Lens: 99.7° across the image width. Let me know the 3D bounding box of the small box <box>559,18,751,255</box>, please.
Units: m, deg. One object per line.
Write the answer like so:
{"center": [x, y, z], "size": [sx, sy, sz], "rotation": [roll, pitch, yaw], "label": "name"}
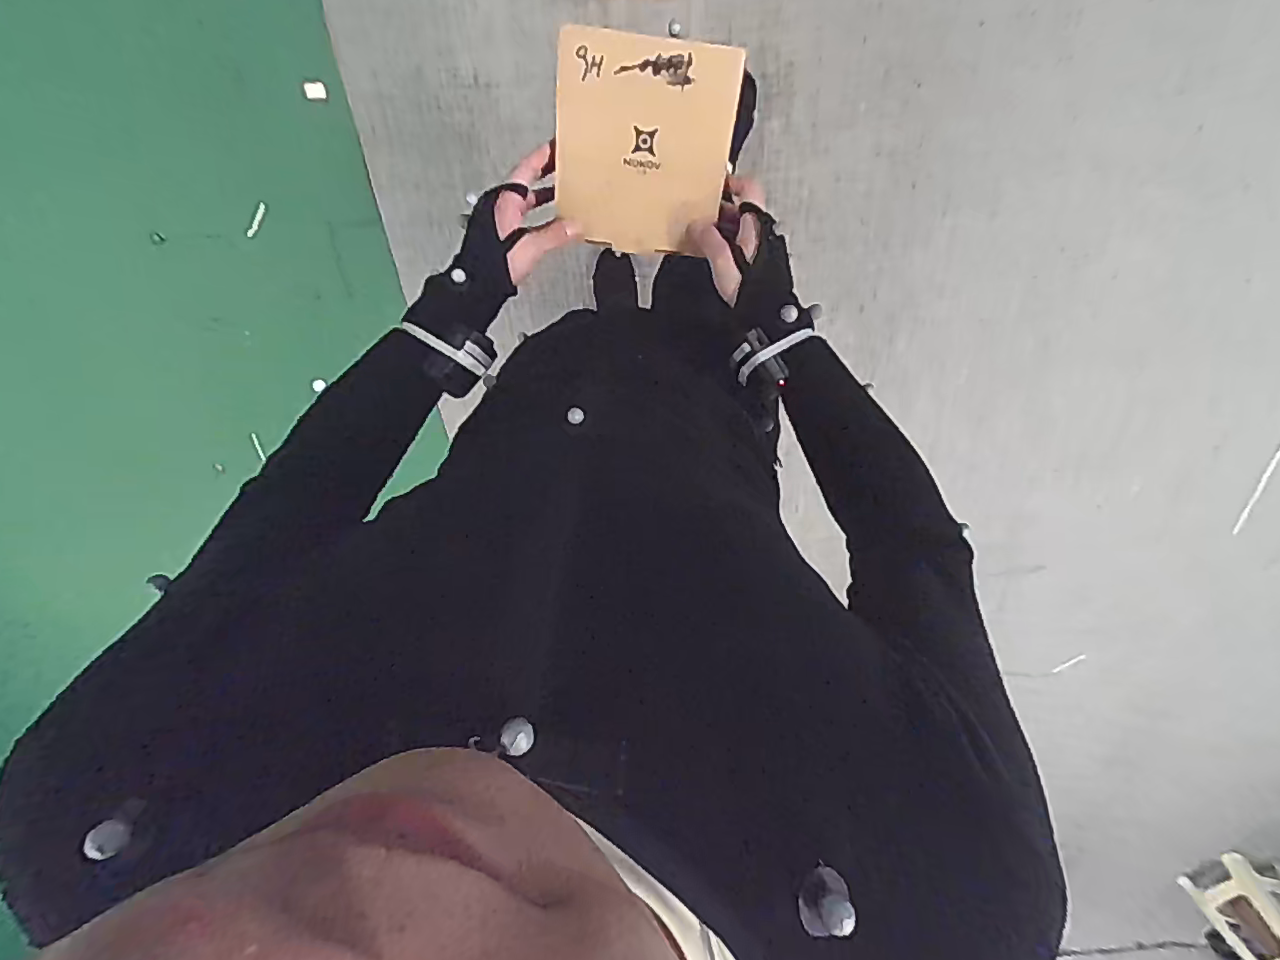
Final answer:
{"center": [0.010, -0.363, 0.580], "size": [0.168, 0.176, 0.179], "rotation": [6, 126, -3], "label": "small box"}
